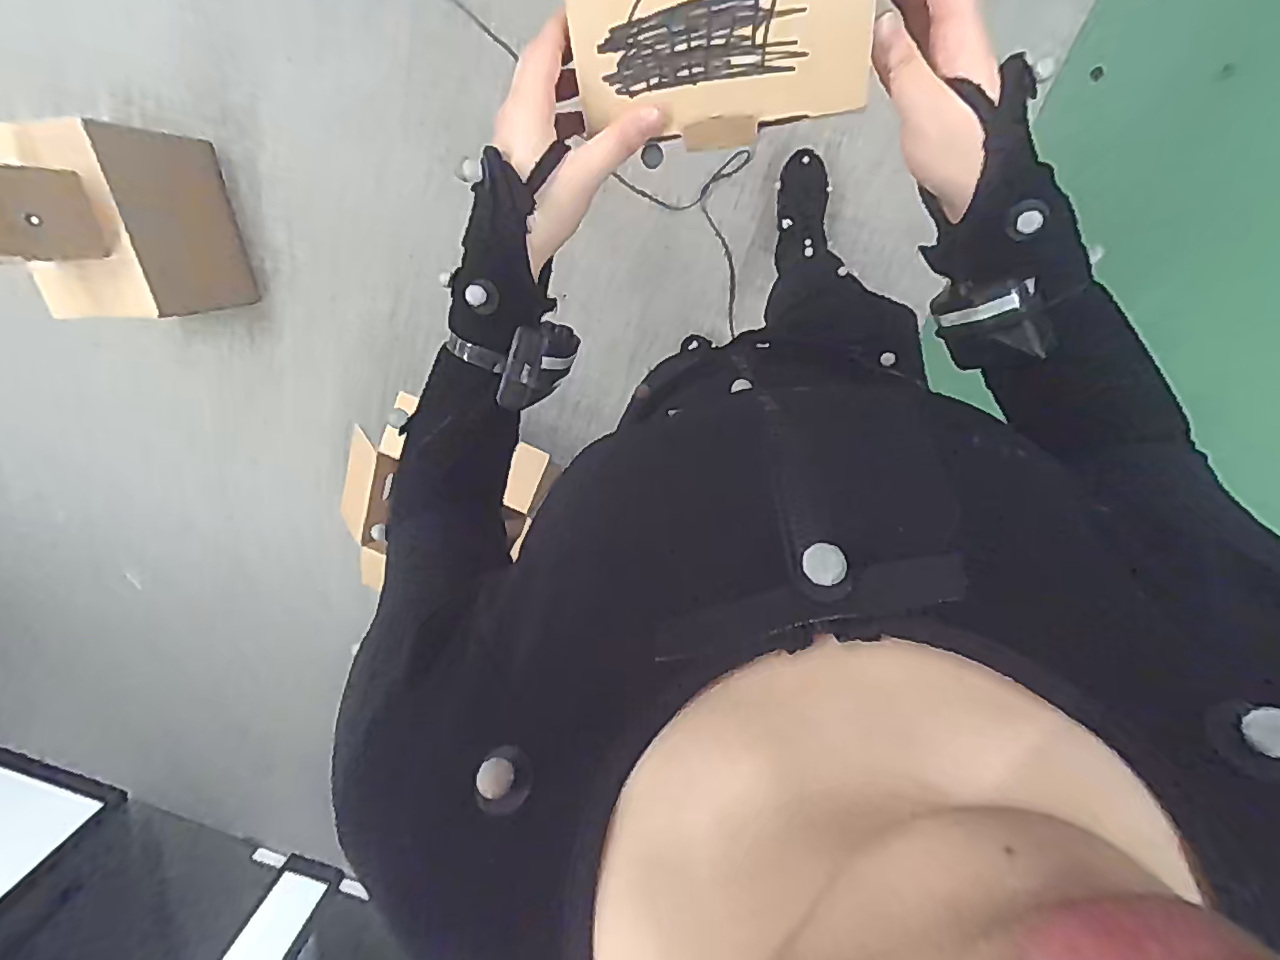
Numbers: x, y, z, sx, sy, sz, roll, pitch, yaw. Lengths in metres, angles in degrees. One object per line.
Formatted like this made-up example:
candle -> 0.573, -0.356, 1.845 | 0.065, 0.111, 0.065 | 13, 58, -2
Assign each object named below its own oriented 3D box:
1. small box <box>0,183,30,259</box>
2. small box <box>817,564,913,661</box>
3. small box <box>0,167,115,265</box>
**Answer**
small box -> -1.306, -0.498, 0.987 | 0.168, 0.176, 0.179 | 2, 115, 8
small box -> 0.601, 0.353, 1.469 | 0.179, 0.176, 0.168 | 18, 117, 3
small box -> -1.281, -0.552, 1.139 | 0.168, 0.176, 0.179 | 2, 114, 9
